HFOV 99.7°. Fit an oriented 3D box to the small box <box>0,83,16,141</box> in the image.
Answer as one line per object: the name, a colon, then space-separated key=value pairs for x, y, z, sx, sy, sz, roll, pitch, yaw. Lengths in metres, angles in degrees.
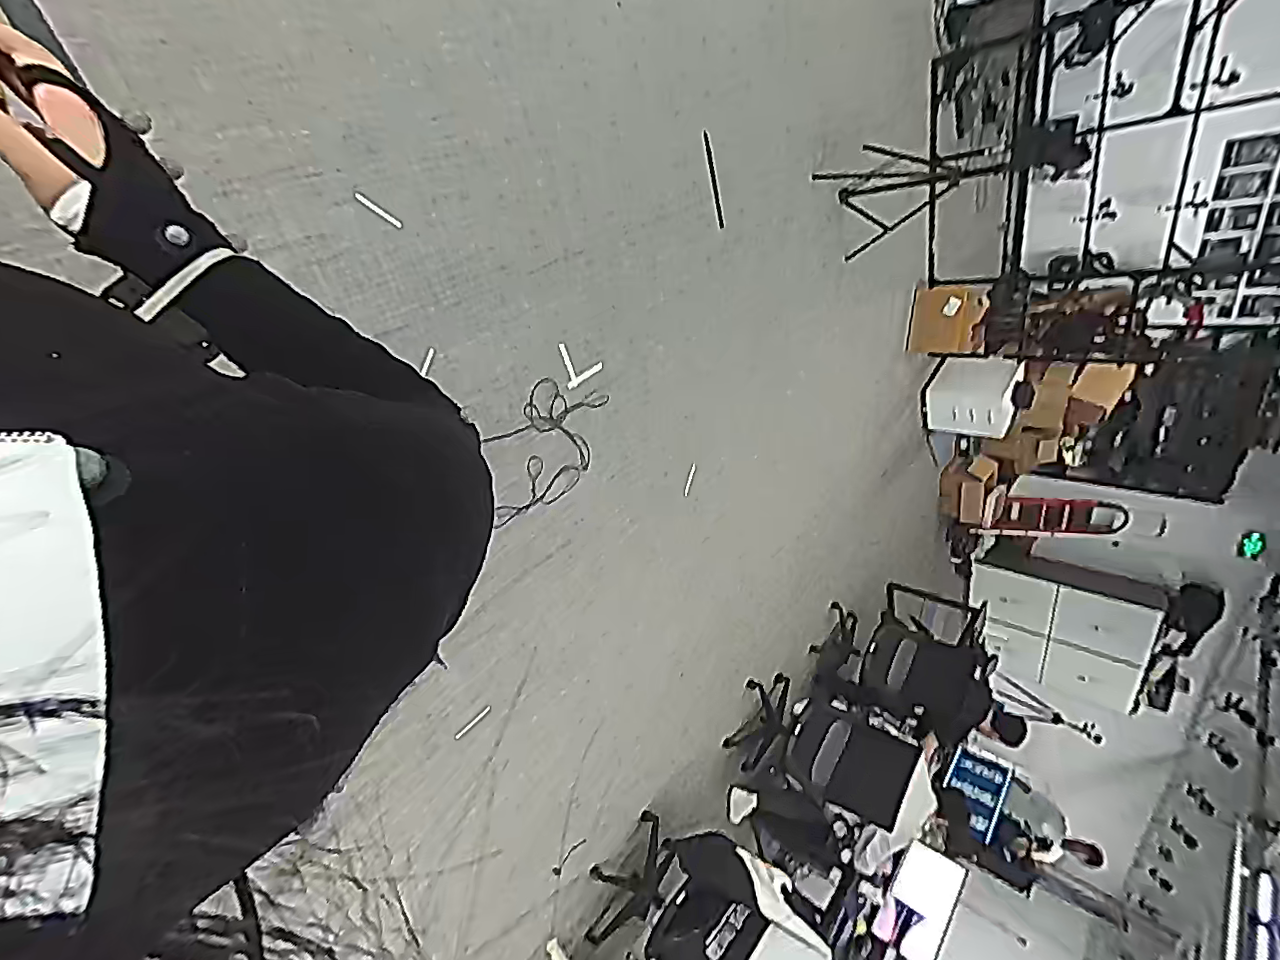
small box: x=-0.508 y=-0.299 z=0.298 sx=0.179 sy=0.176 sz=0.168 roll=-21 pitch=119 yaw=-40
